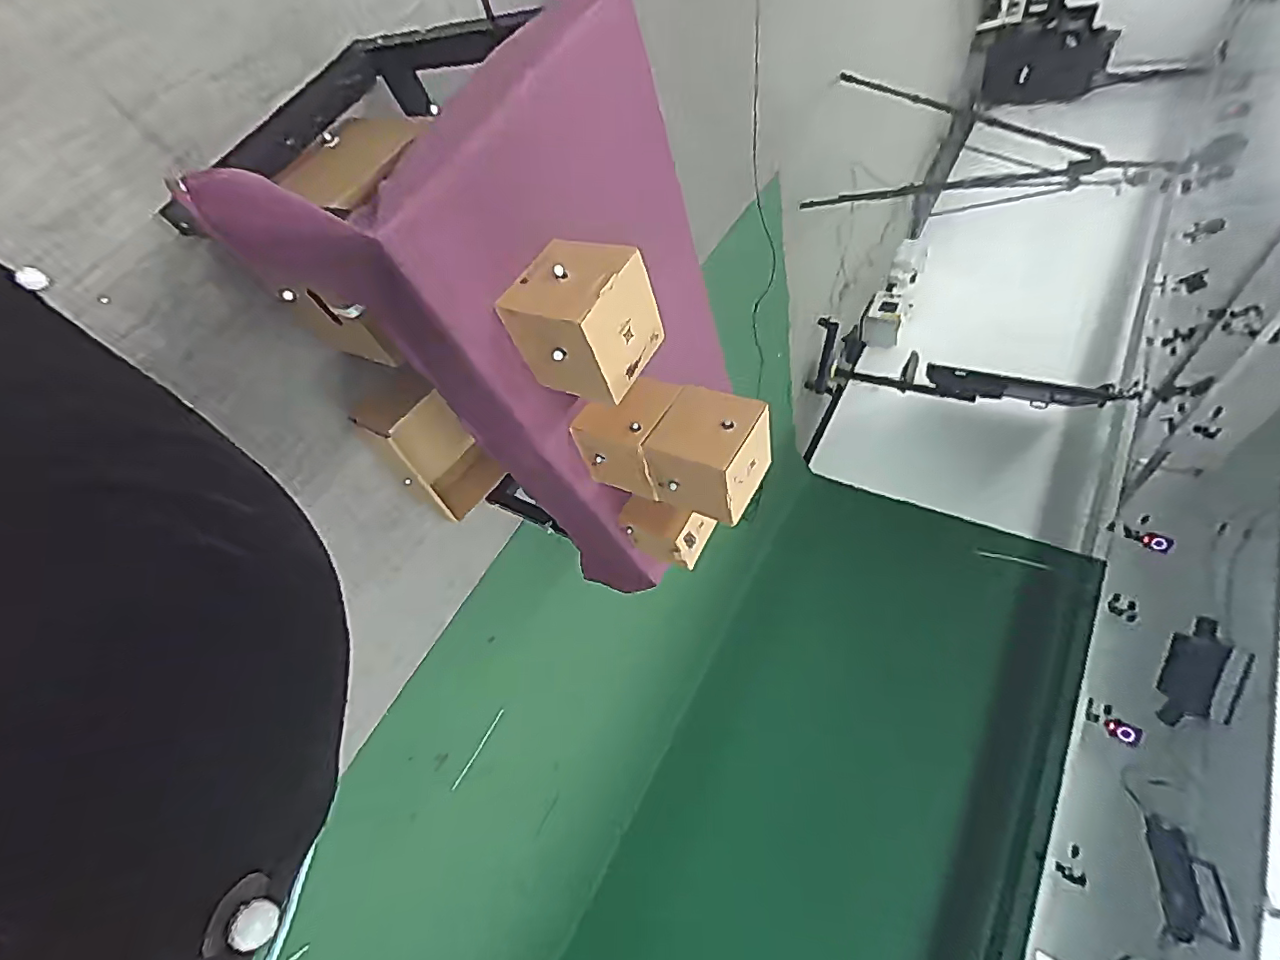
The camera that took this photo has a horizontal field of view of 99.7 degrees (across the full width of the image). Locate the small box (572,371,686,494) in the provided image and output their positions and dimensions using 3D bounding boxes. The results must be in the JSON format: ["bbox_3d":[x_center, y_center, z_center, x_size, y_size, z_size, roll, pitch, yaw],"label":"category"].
[{"bbox_3d":[-0.009,-0.107,1.102,0.179,0.176,0.168,-54,148,-25],"label":"small box"}]

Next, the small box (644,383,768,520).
[{"bbox_3d":[0.130,-0.060,1.027,0.179,0.176,0.168,-53,147,-26],"label":"small box"}]

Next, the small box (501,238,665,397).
[{"bbox_3d":[-0.088,-0.262,0.860,0.168,0.176,0.179,-56,149,-21],"label":"small box"}]

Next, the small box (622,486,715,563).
[{"bbox_3d":[0.072,0.074,1.355,0.179,0.176,0.168,-58,149,-22],"label":"small box"}]
